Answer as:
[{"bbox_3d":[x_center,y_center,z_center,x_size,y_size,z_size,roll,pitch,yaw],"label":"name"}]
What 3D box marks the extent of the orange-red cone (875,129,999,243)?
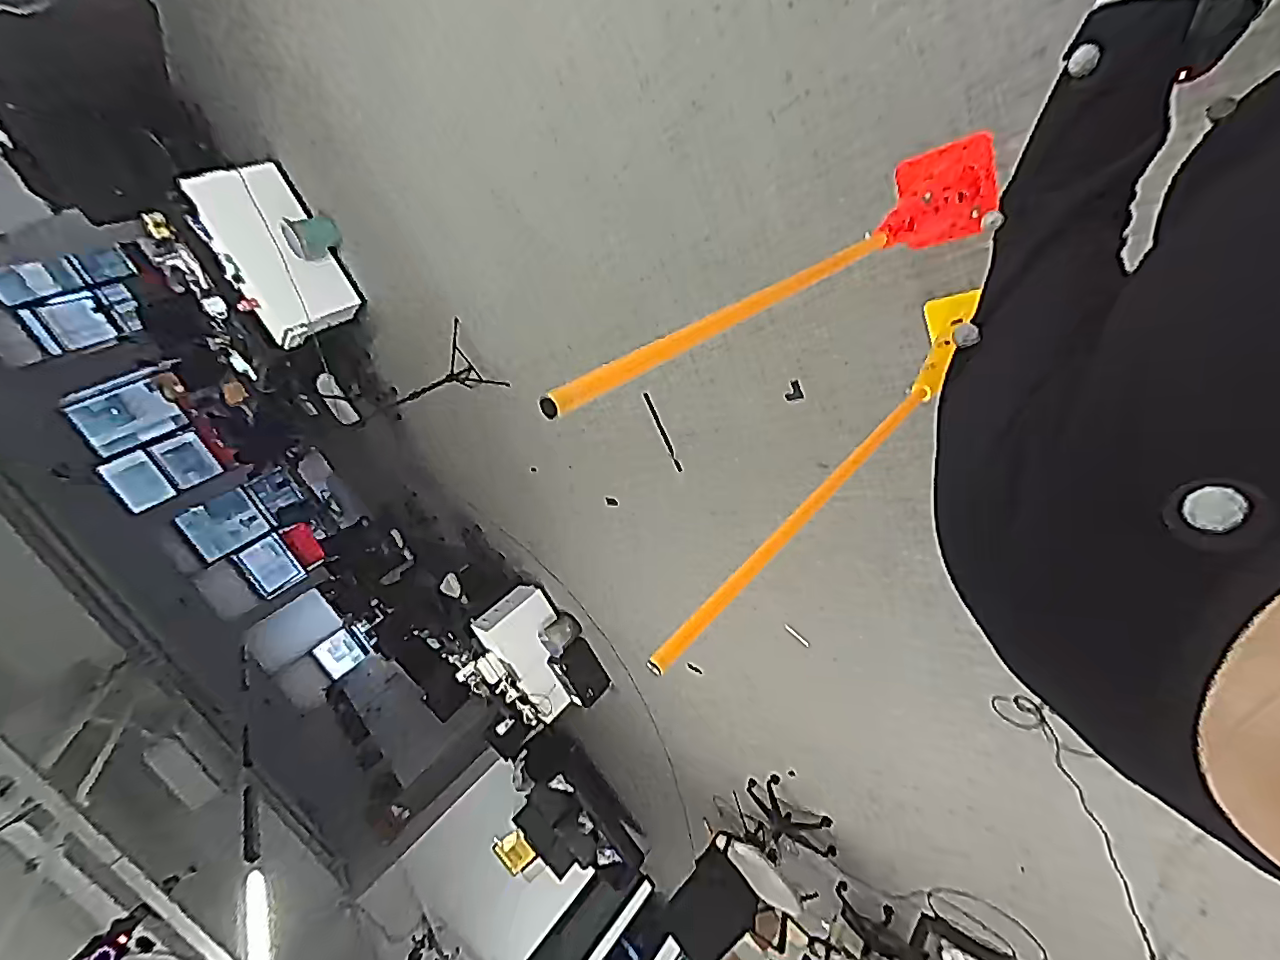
[{"bbox_3d":[0.581,-0.567,1.128,0.198,0.360,0.199,5,124,48],"label":"orange-red cone"}]
